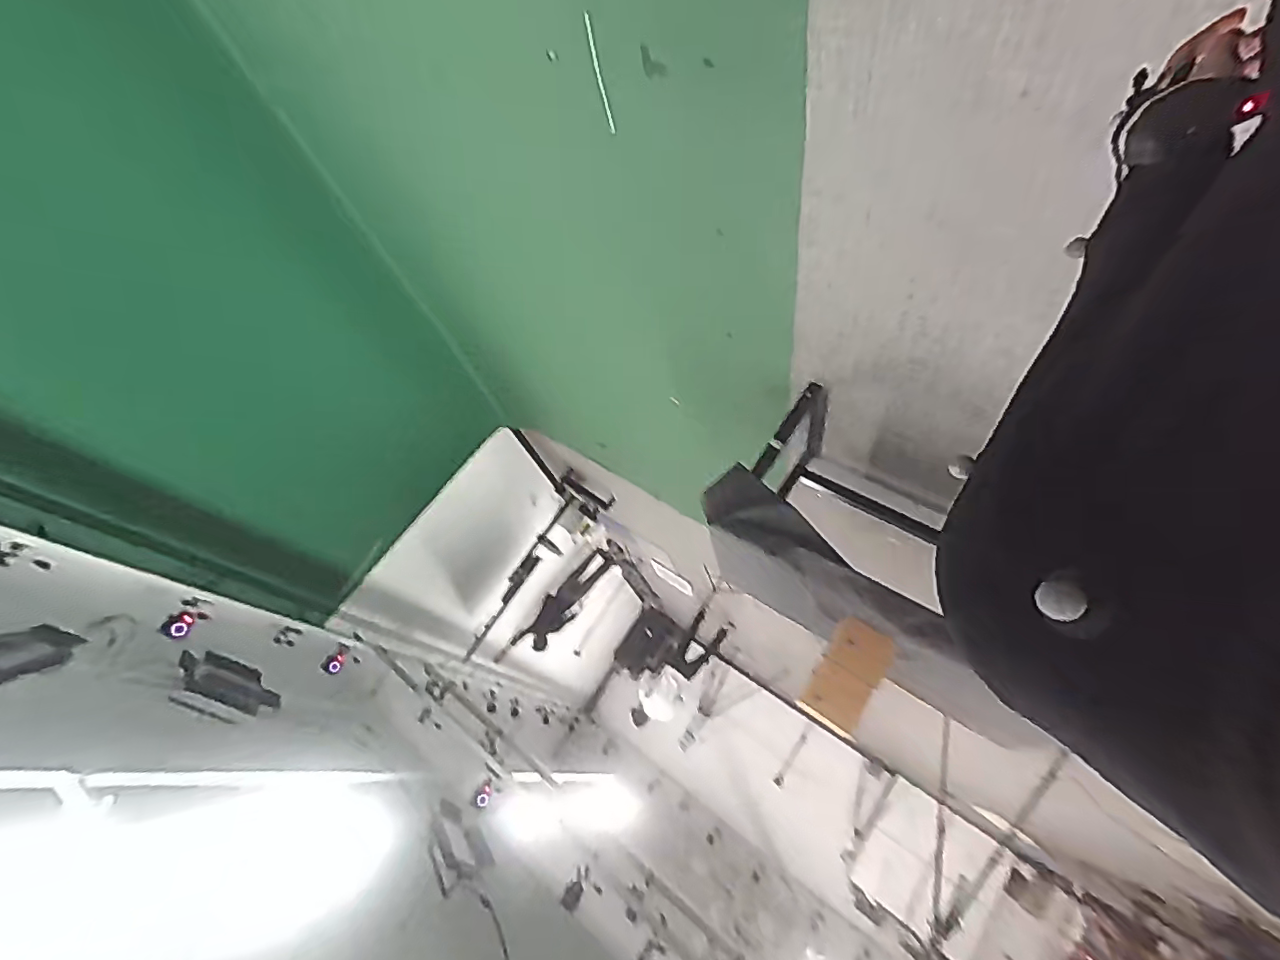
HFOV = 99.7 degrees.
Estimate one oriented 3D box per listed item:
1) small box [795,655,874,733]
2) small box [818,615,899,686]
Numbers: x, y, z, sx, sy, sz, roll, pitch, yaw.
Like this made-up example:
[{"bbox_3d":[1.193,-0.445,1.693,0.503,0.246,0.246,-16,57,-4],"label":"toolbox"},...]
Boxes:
[{"bbox_3d":[0.638,0.698,1.776,0.179,0.176,0.168,32,165,17],"label":"small box"},{"bbox_3d":[0.731,0.570,1.815,0.179,0.176,0.168,31,164,17],"label":"small box"}]
